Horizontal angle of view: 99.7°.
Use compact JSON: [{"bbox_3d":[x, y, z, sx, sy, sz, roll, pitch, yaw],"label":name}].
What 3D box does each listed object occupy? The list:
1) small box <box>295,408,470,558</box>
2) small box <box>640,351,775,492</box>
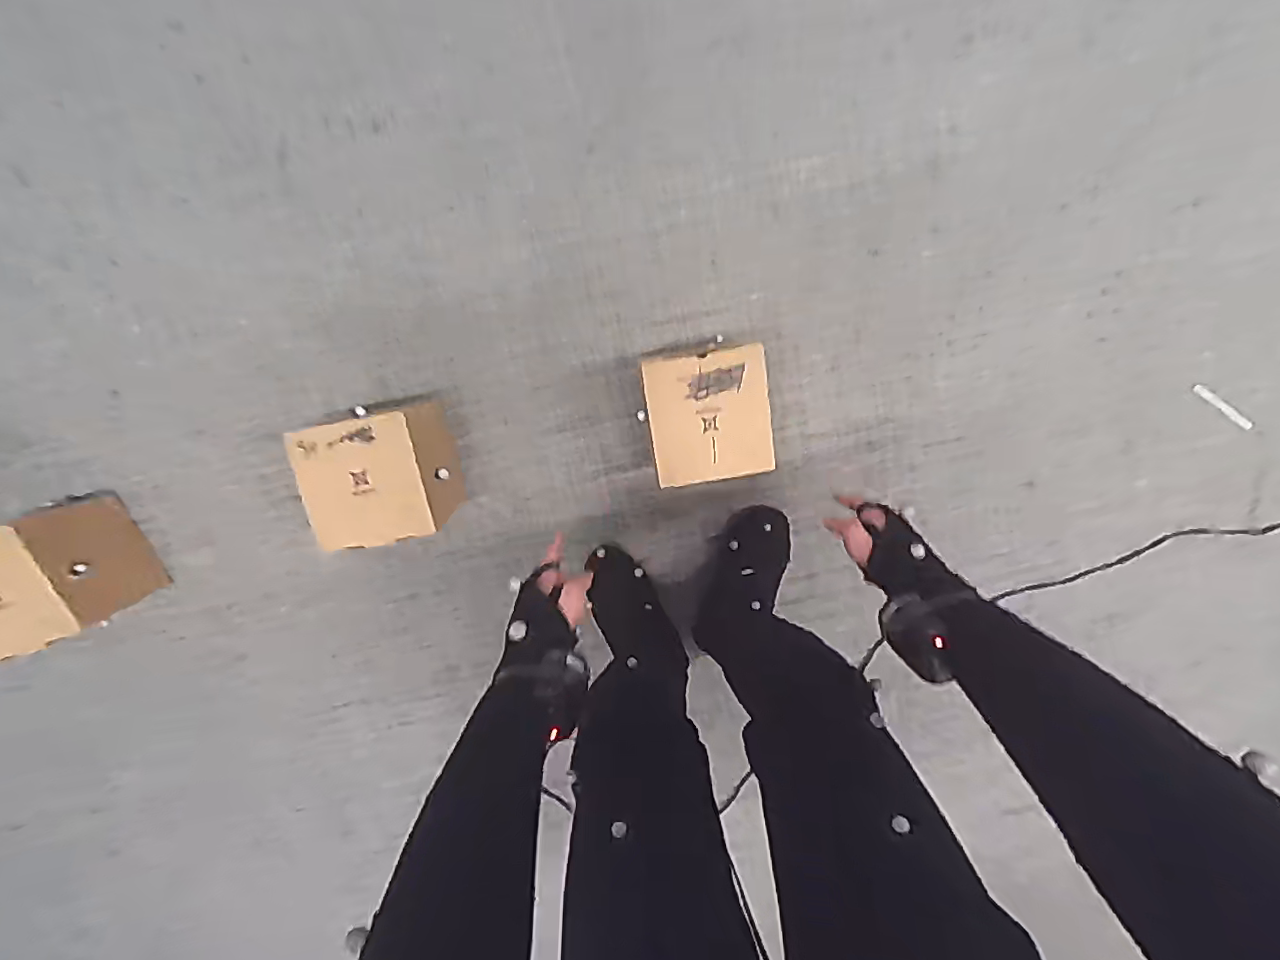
[{"bbox_3d":[-0.373,-0.004,0.821,0.168,0.176,0.179,-10,103,-1],"label":"small box"},{"bbox_3d":[0.095,-0.095,0.821,0.168,0.176,0.179,-10,104,0],"label":"small box"}]
